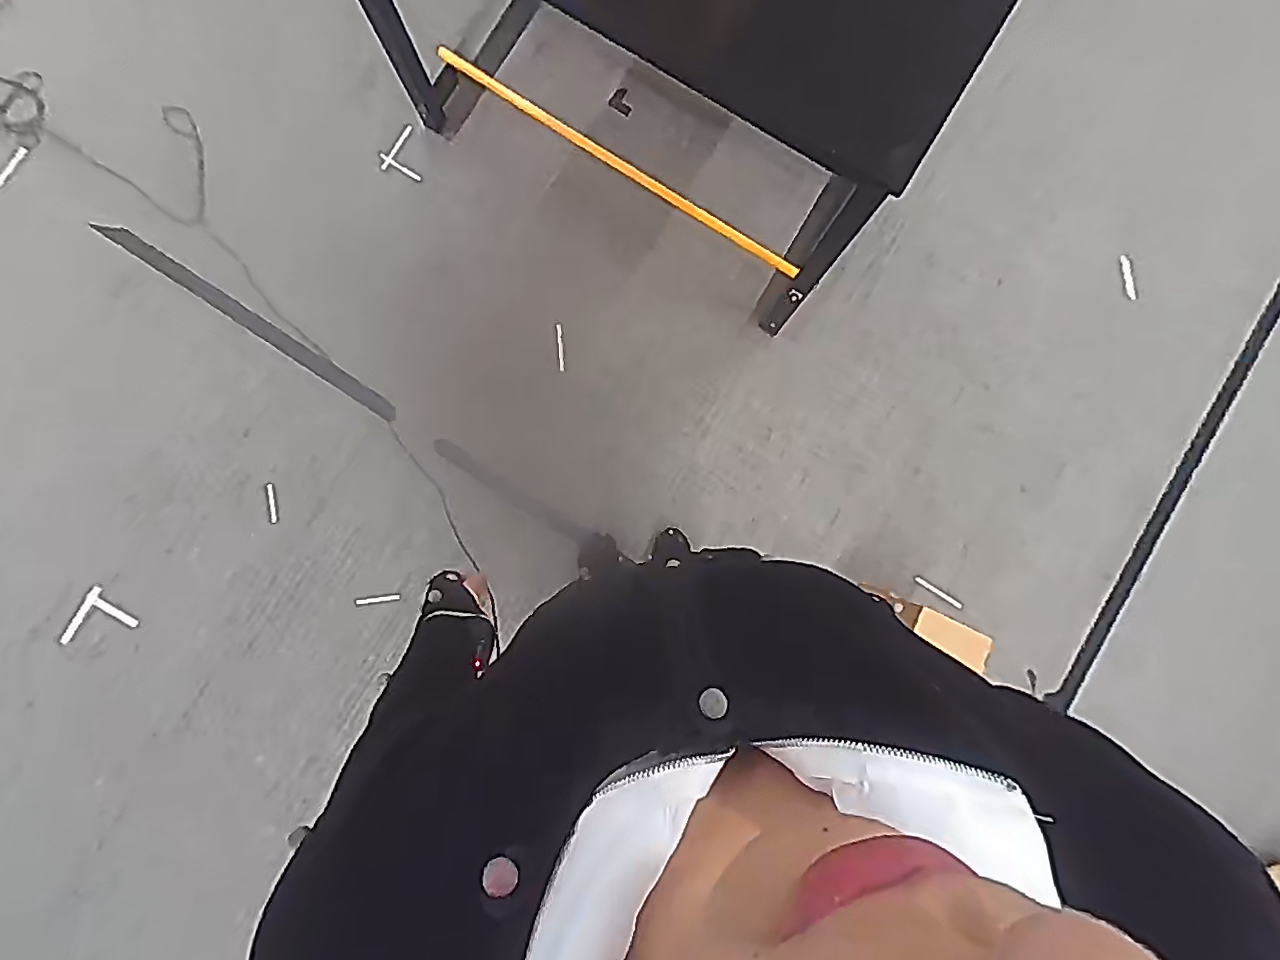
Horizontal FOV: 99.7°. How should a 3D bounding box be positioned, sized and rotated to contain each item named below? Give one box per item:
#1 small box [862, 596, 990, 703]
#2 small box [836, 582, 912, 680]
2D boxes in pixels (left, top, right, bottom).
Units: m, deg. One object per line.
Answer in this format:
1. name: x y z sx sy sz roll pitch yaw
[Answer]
1. small box: 0.660 0.384 1.265 0.179 0.176 0.168 25 85 2
2. small box: 0.647 0.388 1.427 0.168 0.176 0.179 29 87 1
